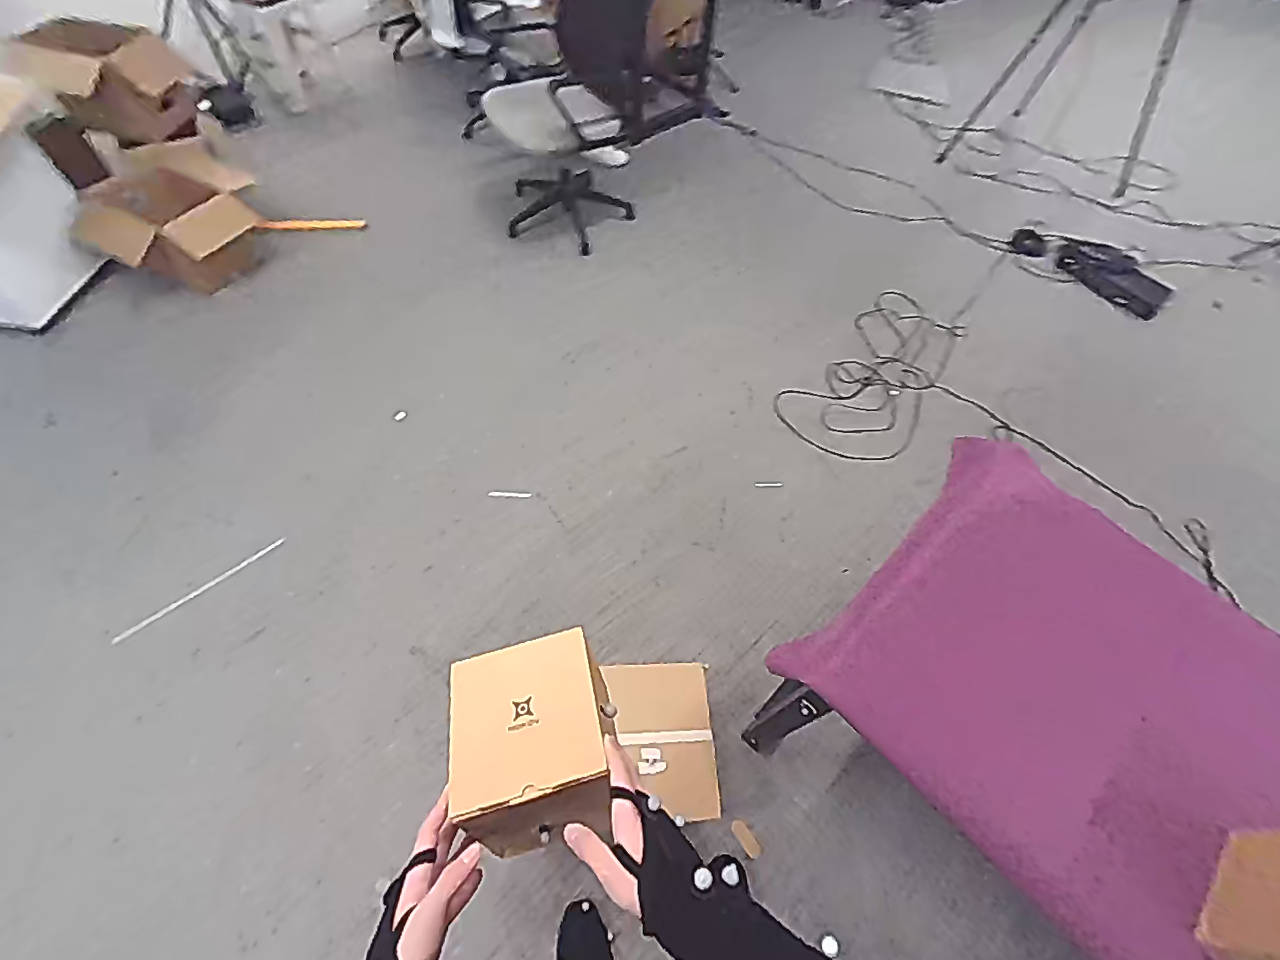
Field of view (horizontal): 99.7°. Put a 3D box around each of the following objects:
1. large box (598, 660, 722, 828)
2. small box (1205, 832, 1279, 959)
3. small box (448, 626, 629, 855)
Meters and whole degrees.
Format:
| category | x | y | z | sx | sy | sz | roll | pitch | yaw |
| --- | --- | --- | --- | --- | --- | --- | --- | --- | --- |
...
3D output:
| category | x | y | z | sx | sy | sz | roll | pitch | yaw |
| --- | --- | --- | --- | --- | --- | --- | --- | --- | --- |
| large box | -0.050 | 0.628 | 1.269 | 0.408 | 0.320 | 0.320 | -1 | 58 | -5 |
| small box | 0.796 | 0.517 | 0.592 | 0.179 | 0.176 | 0.168 | -35 | 64 | -23 |
| small box | -0.117 | 0.310 | 0.645 | 0.168 | 0.176 | 0.179 | -15 | 45 | -5 |
